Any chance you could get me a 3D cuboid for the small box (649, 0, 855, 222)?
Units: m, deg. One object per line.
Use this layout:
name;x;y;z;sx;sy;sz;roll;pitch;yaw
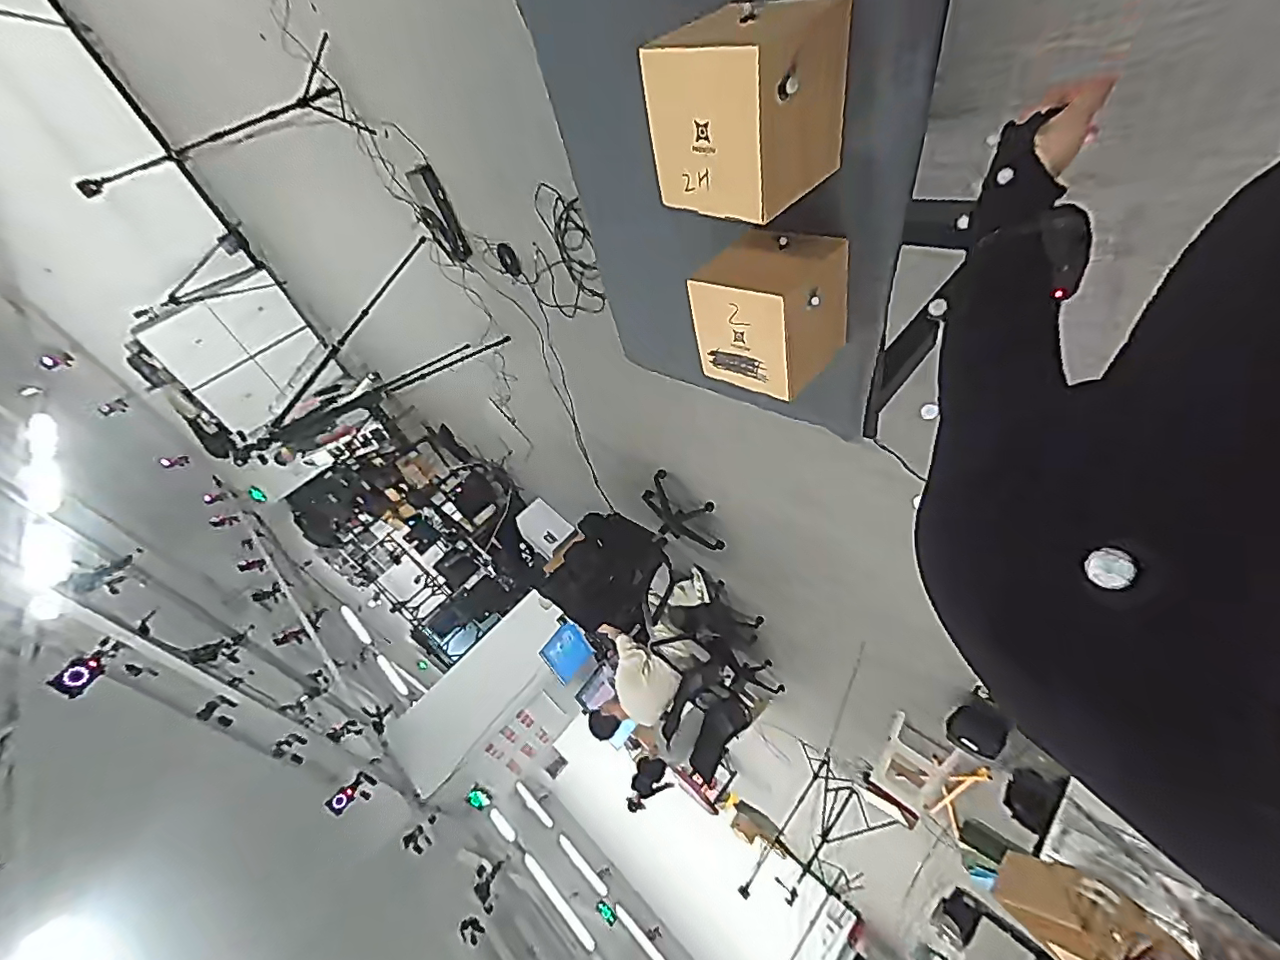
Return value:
small box;0.137;-0.446;0.650;0.168;0.176;0.179;32;154;34
